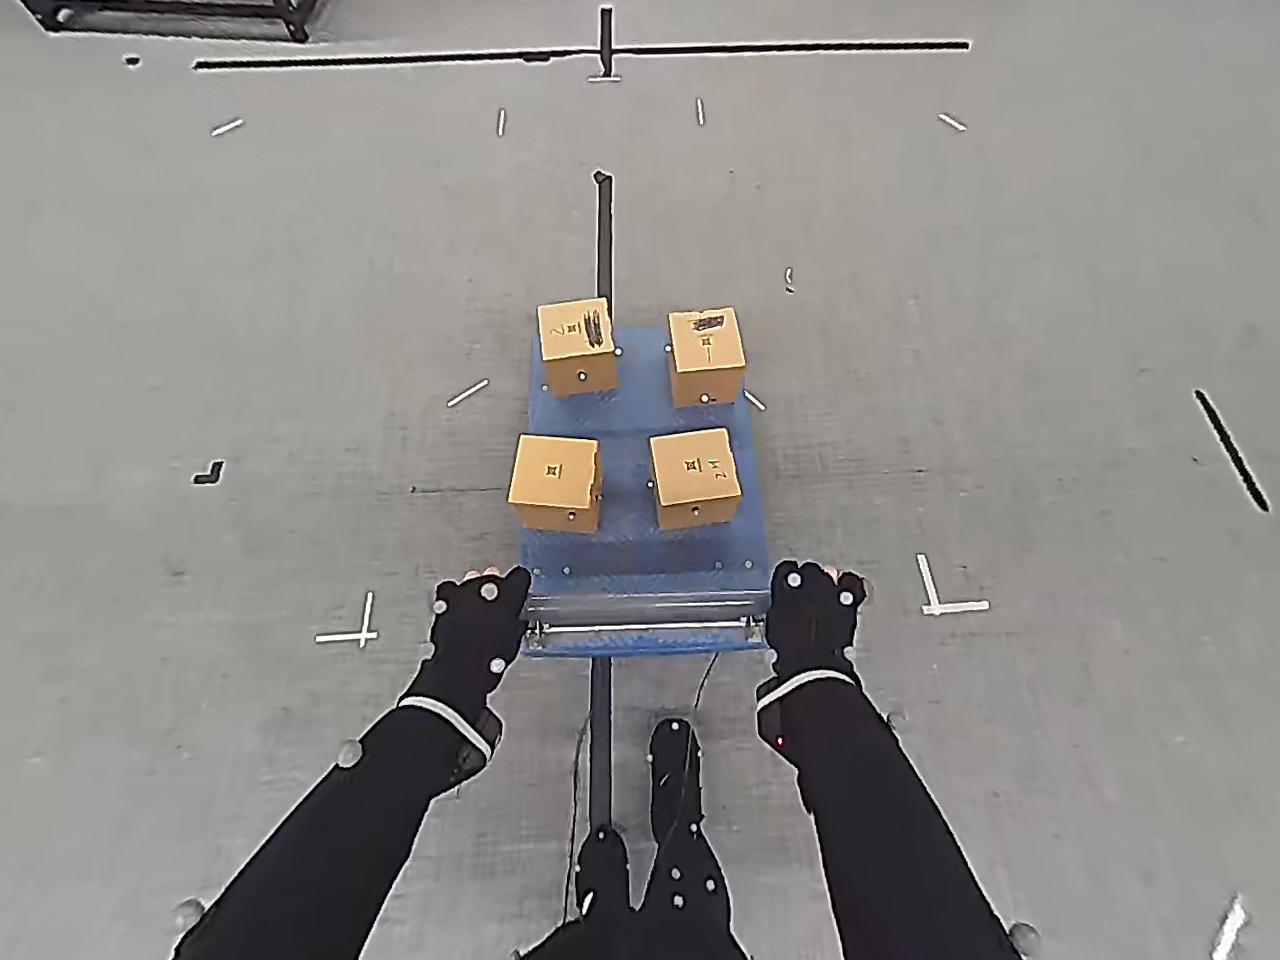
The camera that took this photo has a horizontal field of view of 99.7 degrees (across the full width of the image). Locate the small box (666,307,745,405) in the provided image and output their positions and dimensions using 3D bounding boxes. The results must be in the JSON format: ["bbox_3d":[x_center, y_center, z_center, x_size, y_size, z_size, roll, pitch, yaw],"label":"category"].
[{"bbox_3d":[0.158,-0.310,1.367,0.168,0.176,0.179,-6,68,-1],"label":"small box"}]

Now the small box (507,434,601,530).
[{"bbox_3d":[-0.188,0.009,1.238,0.179,0.176,0.168,4,67,1],"label":"small box"}]

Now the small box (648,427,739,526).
[{"bbox_3d":[0.117,-0.001,1.237,0.179,0.176,0.168,-7,68,-2],"label":"small box"}]
